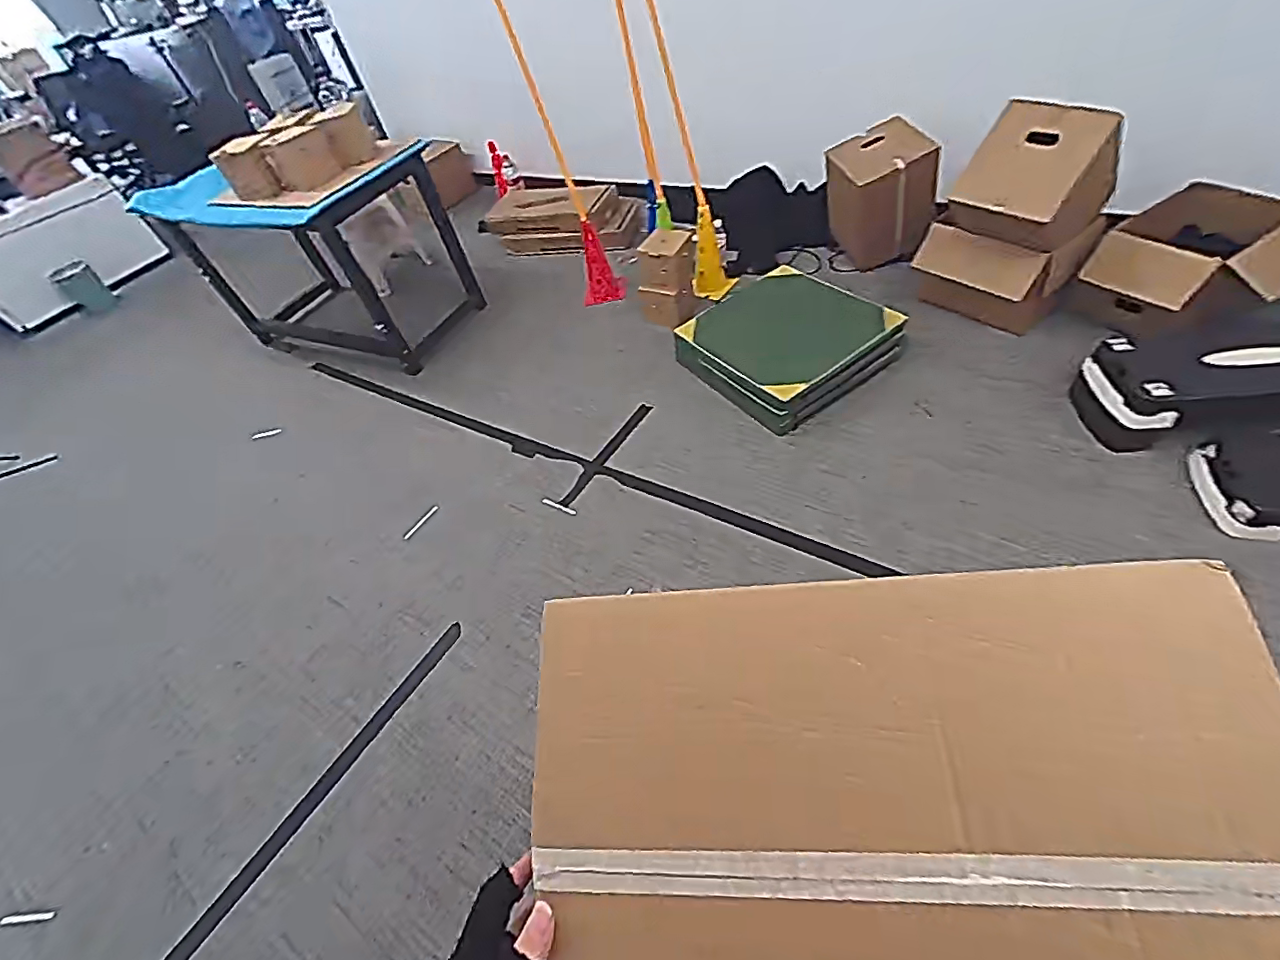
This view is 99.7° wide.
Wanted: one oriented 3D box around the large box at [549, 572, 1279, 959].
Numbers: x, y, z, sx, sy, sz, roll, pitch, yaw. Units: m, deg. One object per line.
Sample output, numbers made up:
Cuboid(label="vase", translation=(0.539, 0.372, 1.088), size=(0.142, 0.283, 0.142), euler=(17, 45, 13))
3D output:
Cuboid(label="large box", translation=(0.169, 0.273, 0.430), size=(0.408, 0.320, 0.320), euler=(-6, 68, 11))
